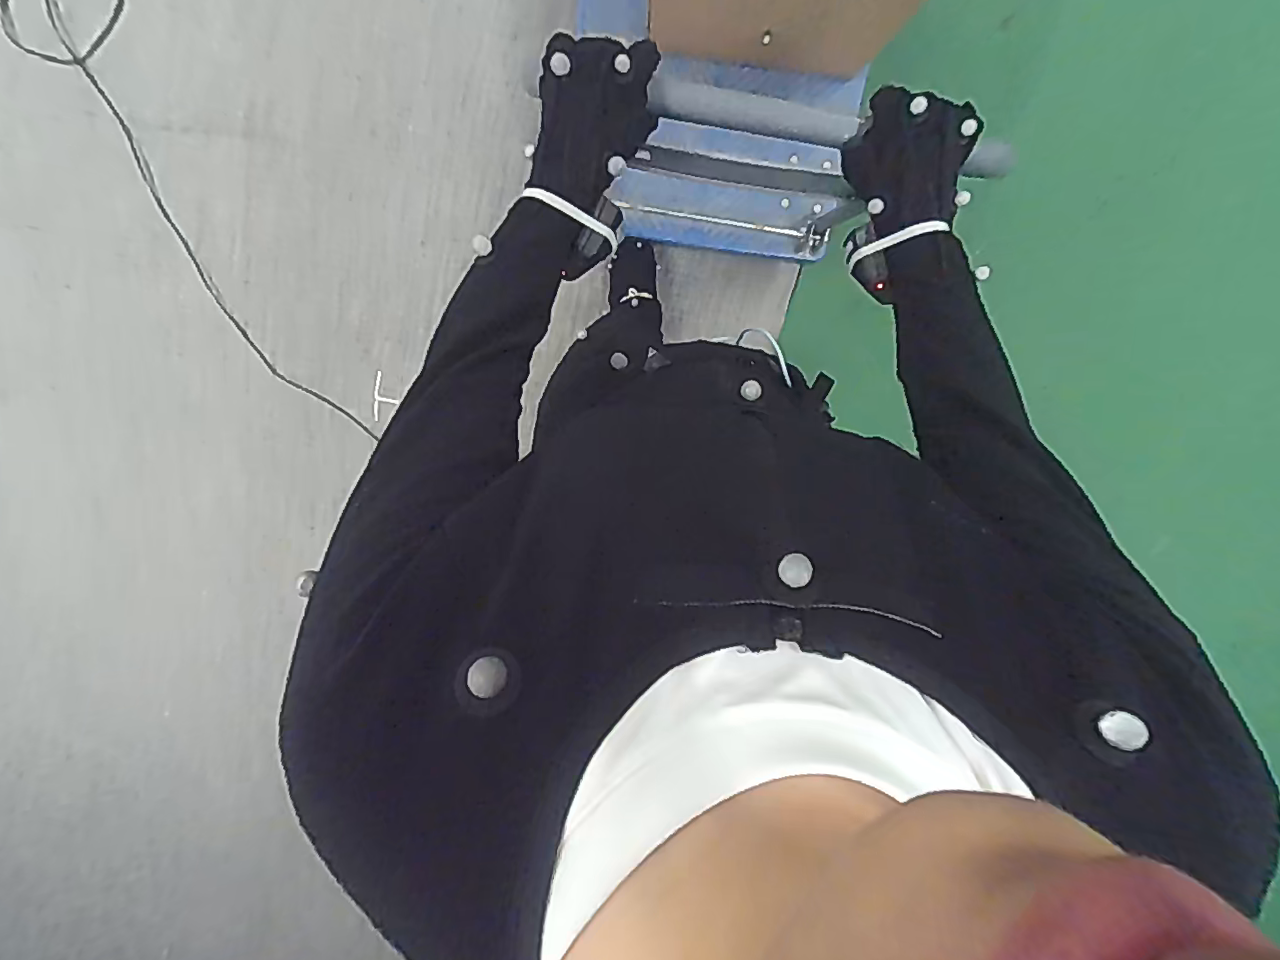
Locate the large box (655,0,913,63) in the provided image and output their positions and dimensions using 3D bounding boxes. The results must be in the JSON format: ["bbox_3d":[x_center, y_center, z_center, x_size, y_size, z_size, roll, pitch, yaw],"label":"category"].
[{"bbox_3d":[0.238,-0.923,0.870,0.408,0.320,0.320,6,108,-1],"label":"large box"}]
